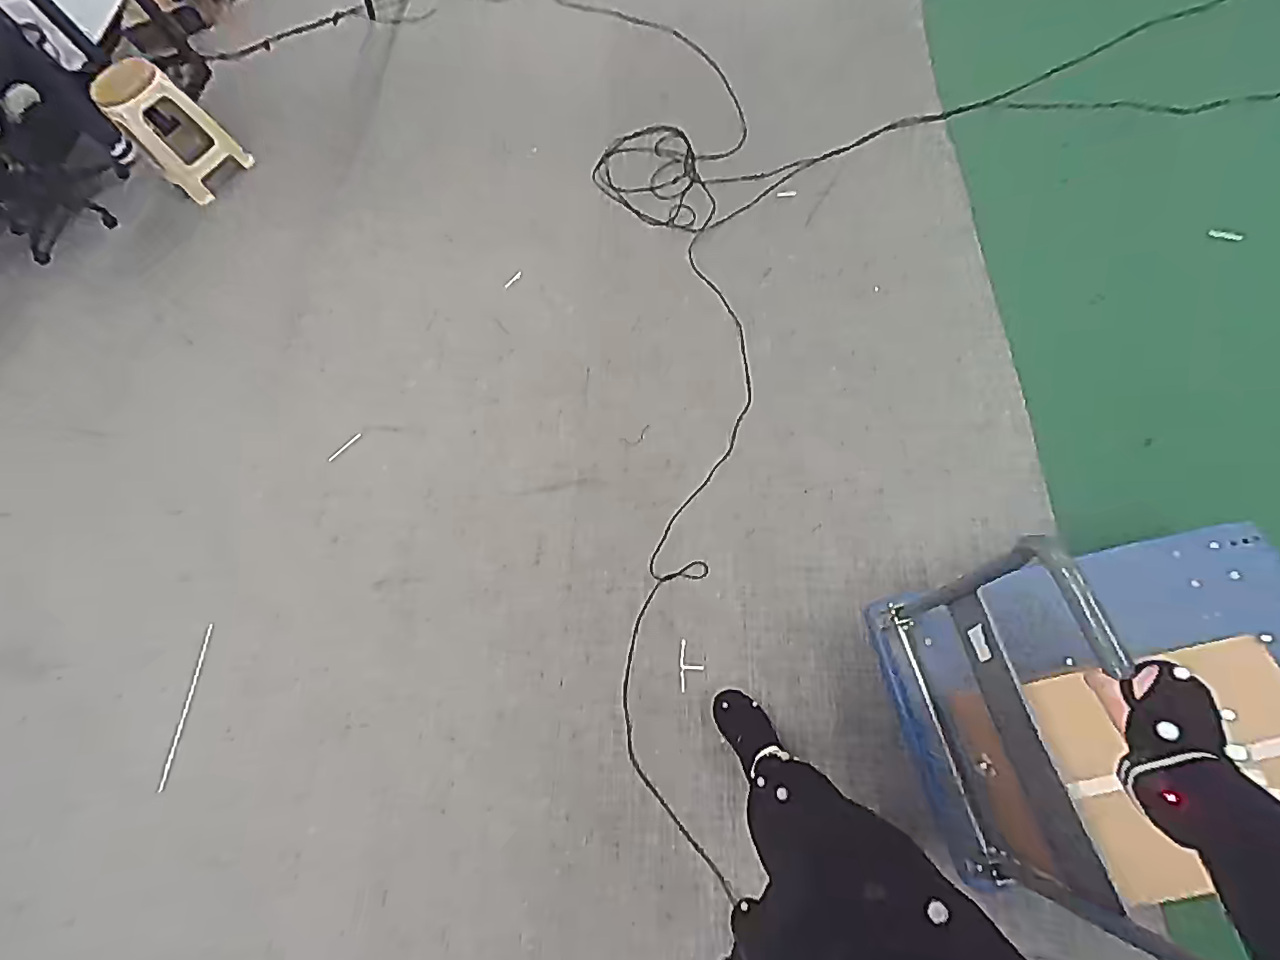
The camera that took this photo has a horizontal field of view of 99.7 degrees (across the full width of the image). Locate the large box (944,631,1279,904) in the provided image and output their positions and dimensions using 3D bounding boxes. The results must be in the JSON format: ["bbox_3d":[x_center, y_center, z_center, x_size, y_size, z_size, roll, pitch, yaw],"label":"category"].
[{"bbox_3d":[0.856,0.493,0.972,0.408,0.320,0.320,-14,66,3],"label":"large box"}]
